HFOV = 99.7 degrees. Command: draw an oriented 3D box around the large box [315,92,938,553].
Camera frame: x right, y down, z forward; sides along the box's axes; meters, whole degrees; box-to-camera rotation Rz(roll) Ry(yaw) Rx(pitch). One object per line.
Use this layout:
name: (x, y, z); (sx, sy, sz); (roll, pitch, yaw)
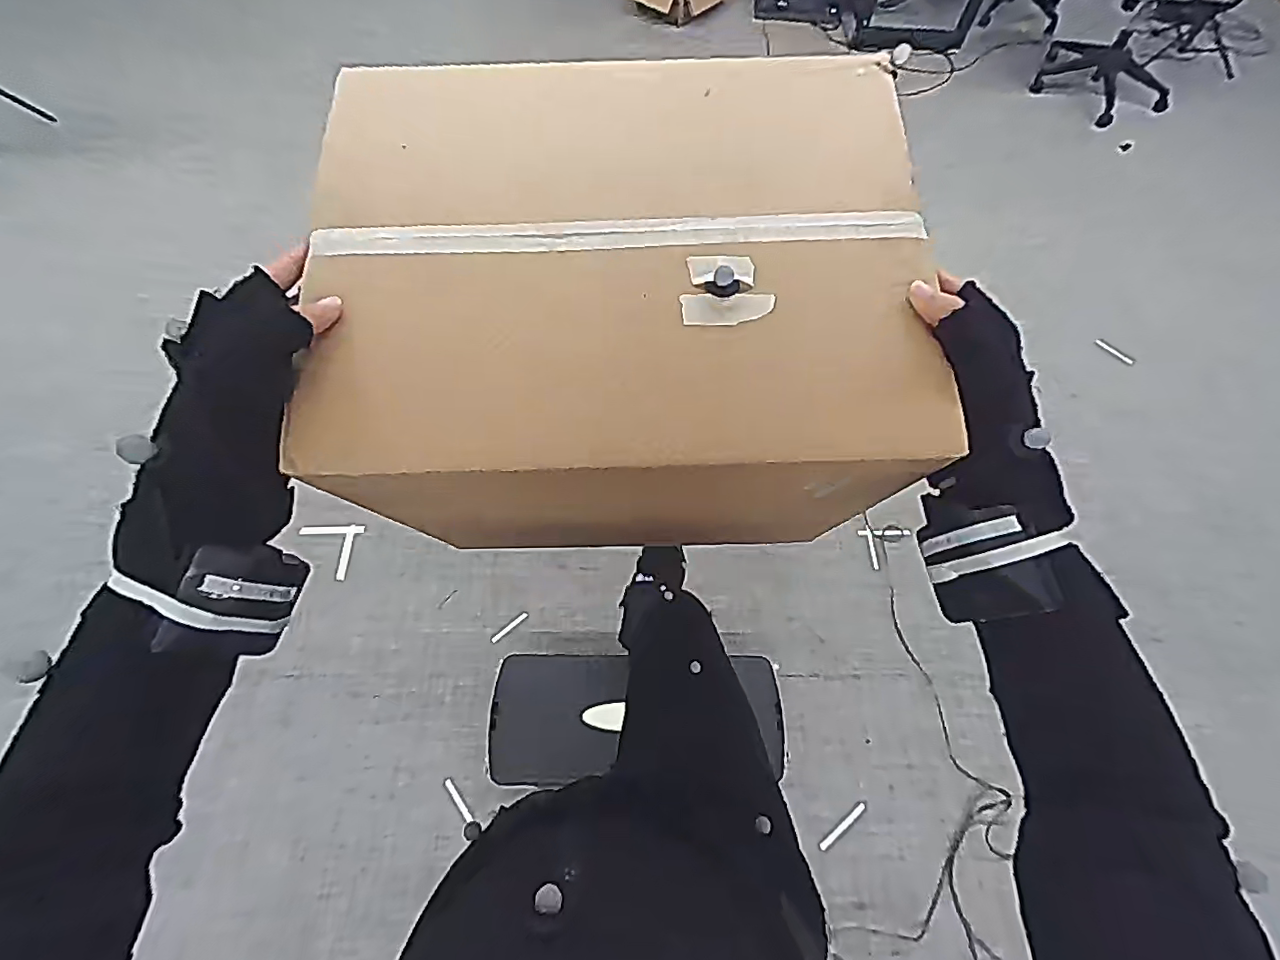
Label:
large box: (-0.014, -0.112, 0.525); (0.408, 0.320, 0.320); (-1, 74, 0)
